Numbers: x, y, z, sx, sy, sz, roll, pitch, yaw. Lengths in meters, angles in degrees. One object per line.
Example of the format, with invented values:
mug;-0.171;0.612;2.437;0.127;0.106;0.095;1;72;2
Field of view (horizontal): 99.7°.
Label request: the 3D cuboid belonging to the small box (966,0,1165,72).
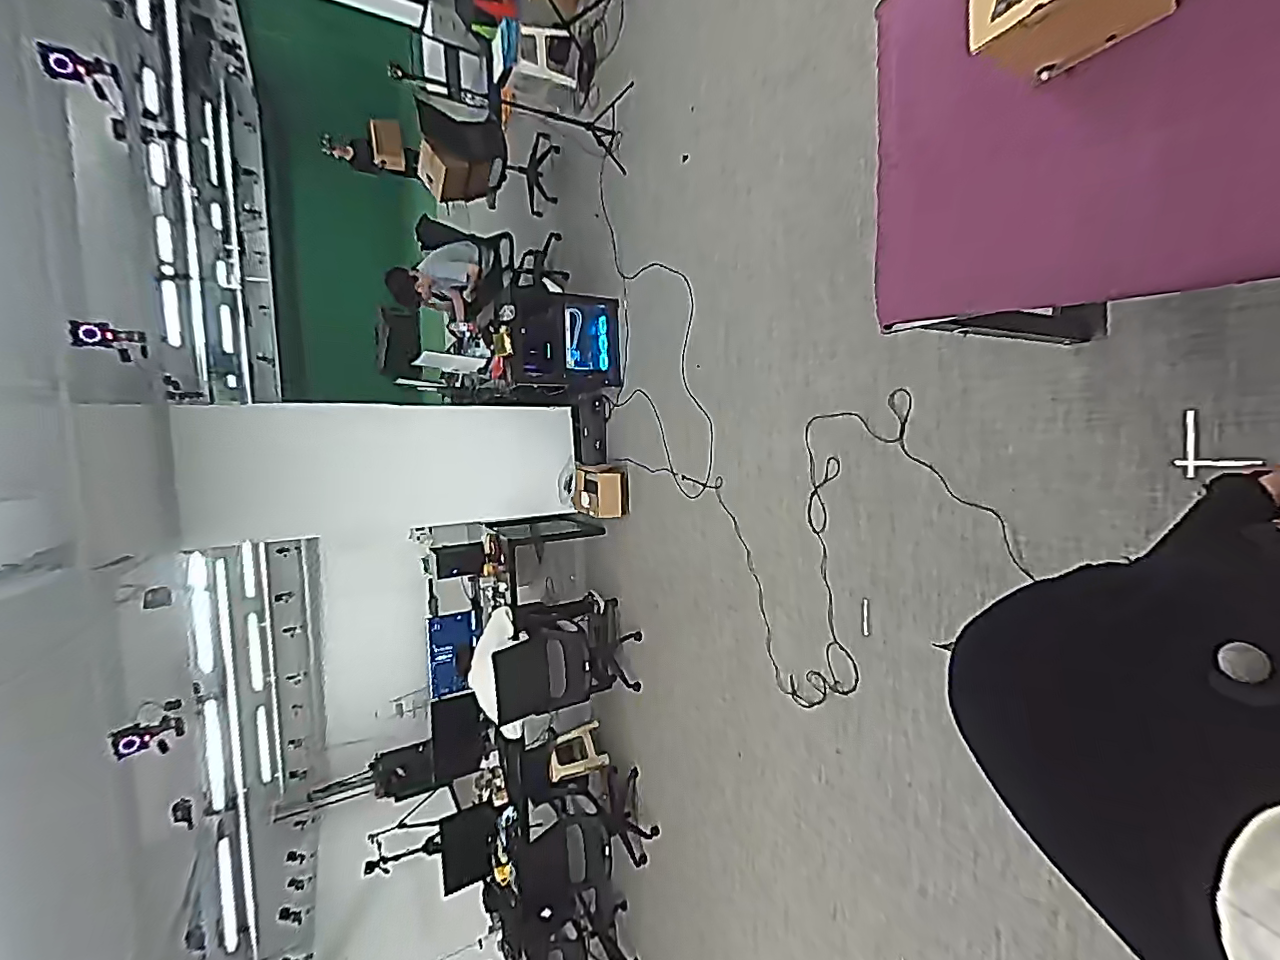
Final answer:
small box;0.558;-0.679;0.709;0.168;0.176;0.179;4;98;60
